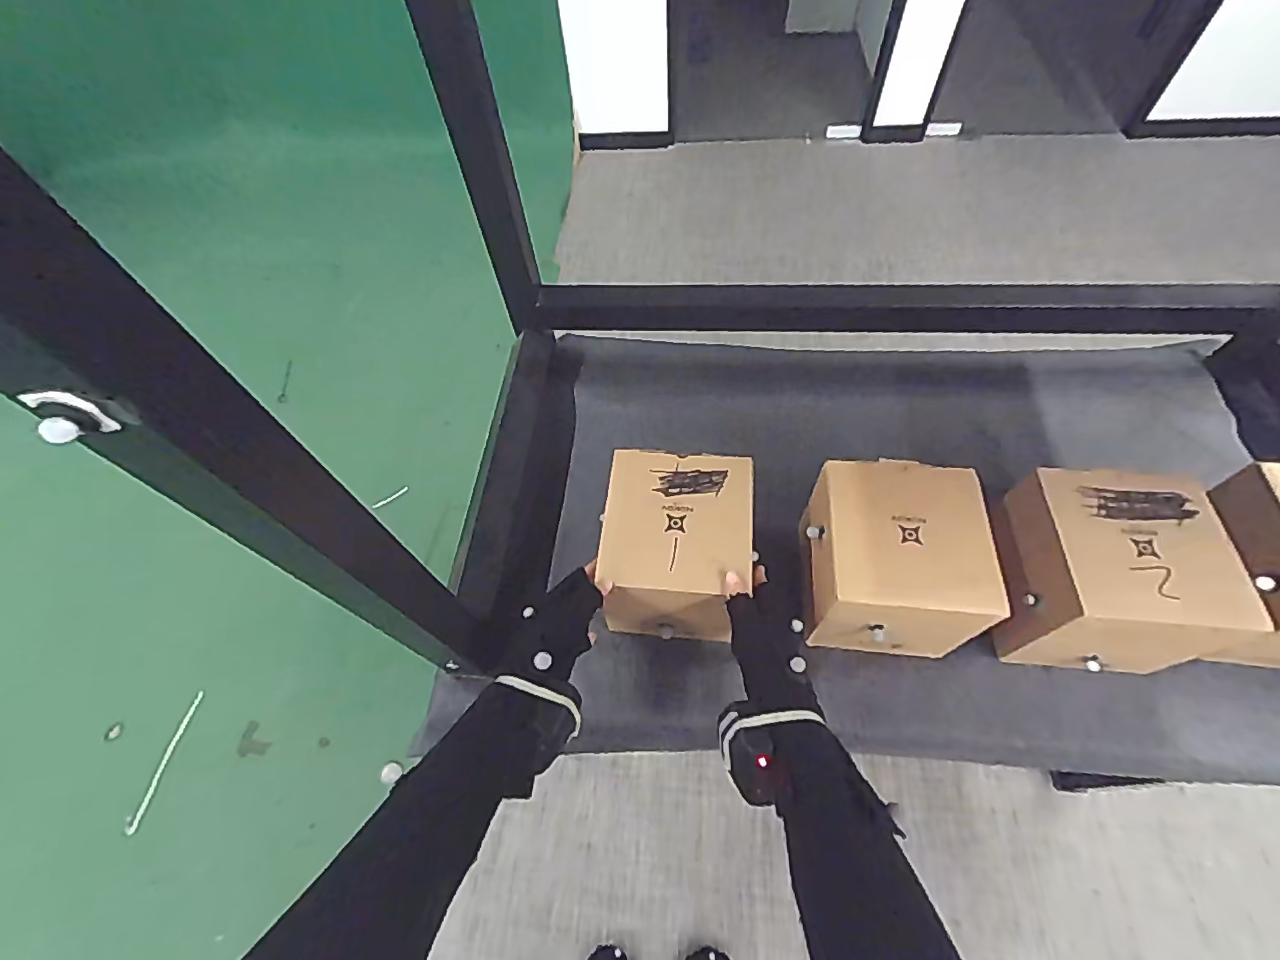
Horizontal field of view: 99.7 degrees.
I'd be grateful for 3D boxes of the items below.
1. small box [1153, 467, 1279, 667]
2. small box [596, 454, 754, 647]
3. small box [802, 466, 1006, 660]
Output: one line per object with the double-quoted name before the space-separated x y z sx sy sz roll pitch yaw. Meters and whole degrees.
"small box" 0.742 0.107 0.601 0.168 0.176 0.179 5 57 8
"small box" 0.047 0.090 0.670 0.168 0.176 0.179 4 58 7
"small box" 0.292 0.104 0.644 0.168 0.176 0.179 3 57 7
